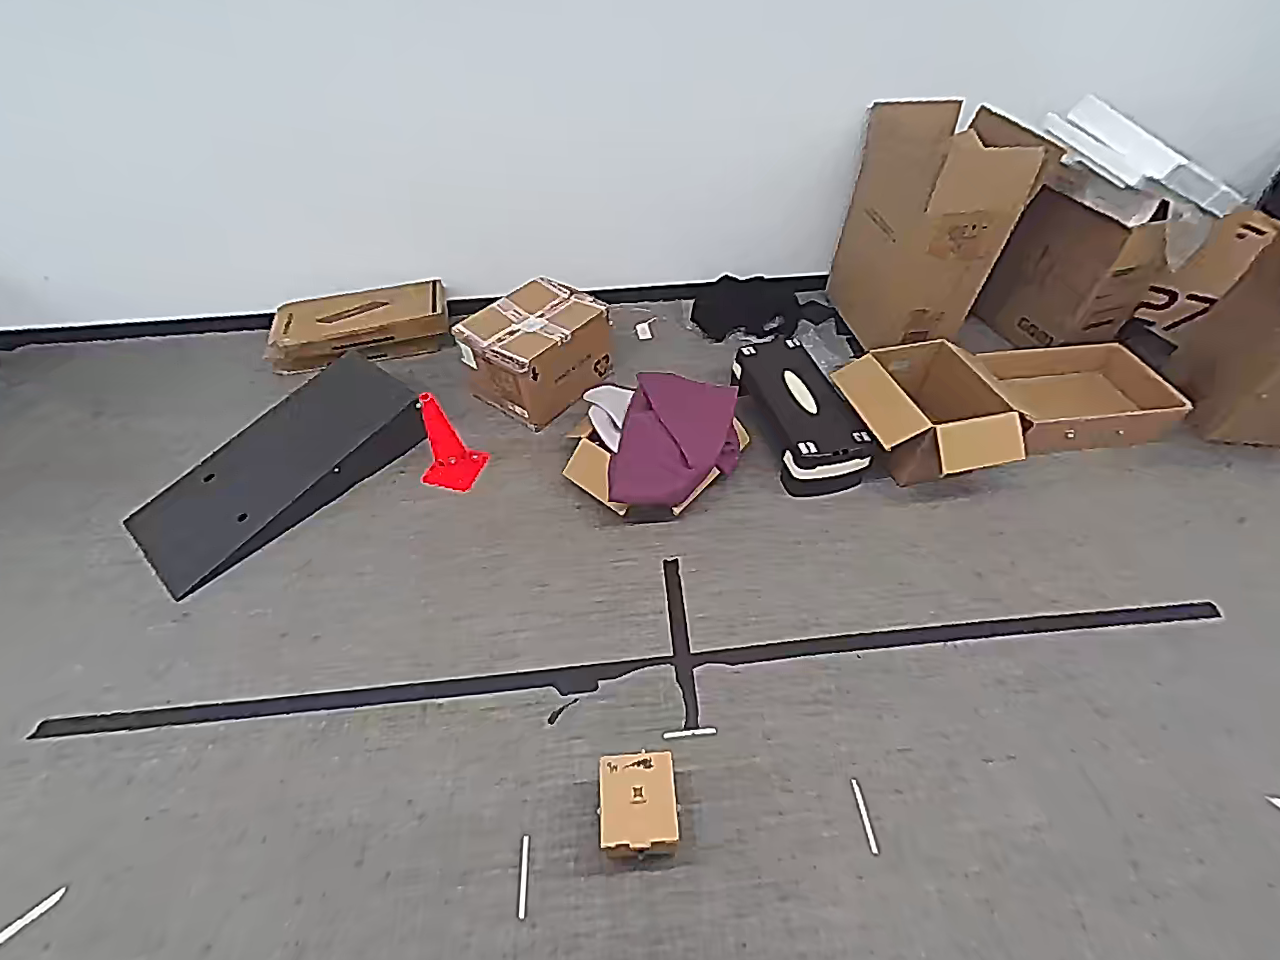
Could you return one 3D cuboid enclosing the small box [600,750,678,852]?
[{"bbox_3d":[-0.001,0.733,1.227,0.168,0.176,0.179,-4,50,-1],"label":"small box"}]
